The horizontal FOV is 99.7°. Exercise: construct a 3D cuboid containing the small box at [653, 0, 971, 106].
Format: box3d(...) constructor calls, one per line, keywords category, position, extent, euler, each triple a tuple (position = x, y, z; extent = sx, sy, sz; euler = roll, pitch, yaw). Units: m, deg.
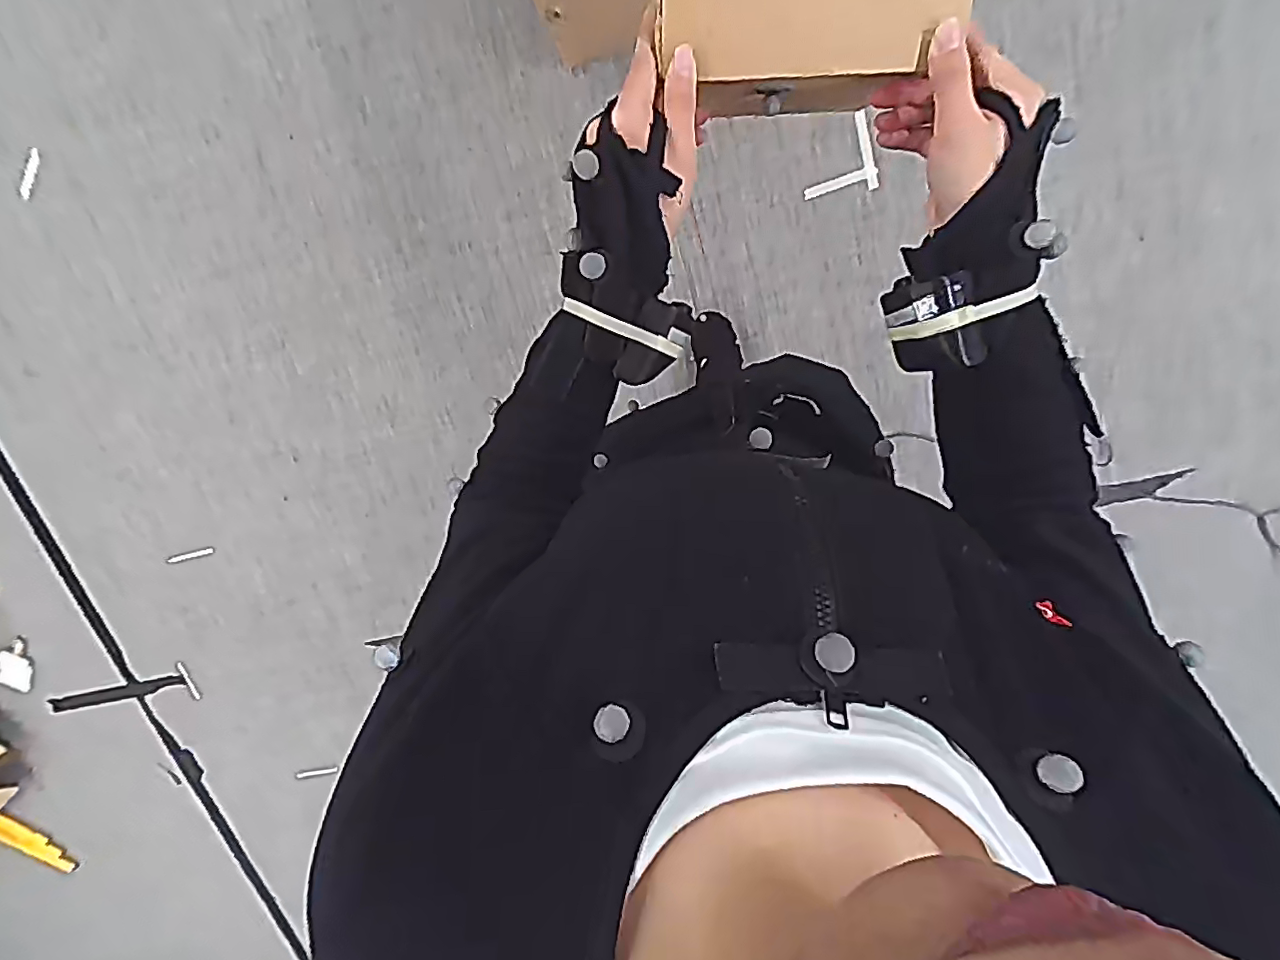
box3d(category="small box", position=(0.095, -0.351, 0.345), extent=(0.179, 0.176, 0.168), euler=(-2, 117, 1))
